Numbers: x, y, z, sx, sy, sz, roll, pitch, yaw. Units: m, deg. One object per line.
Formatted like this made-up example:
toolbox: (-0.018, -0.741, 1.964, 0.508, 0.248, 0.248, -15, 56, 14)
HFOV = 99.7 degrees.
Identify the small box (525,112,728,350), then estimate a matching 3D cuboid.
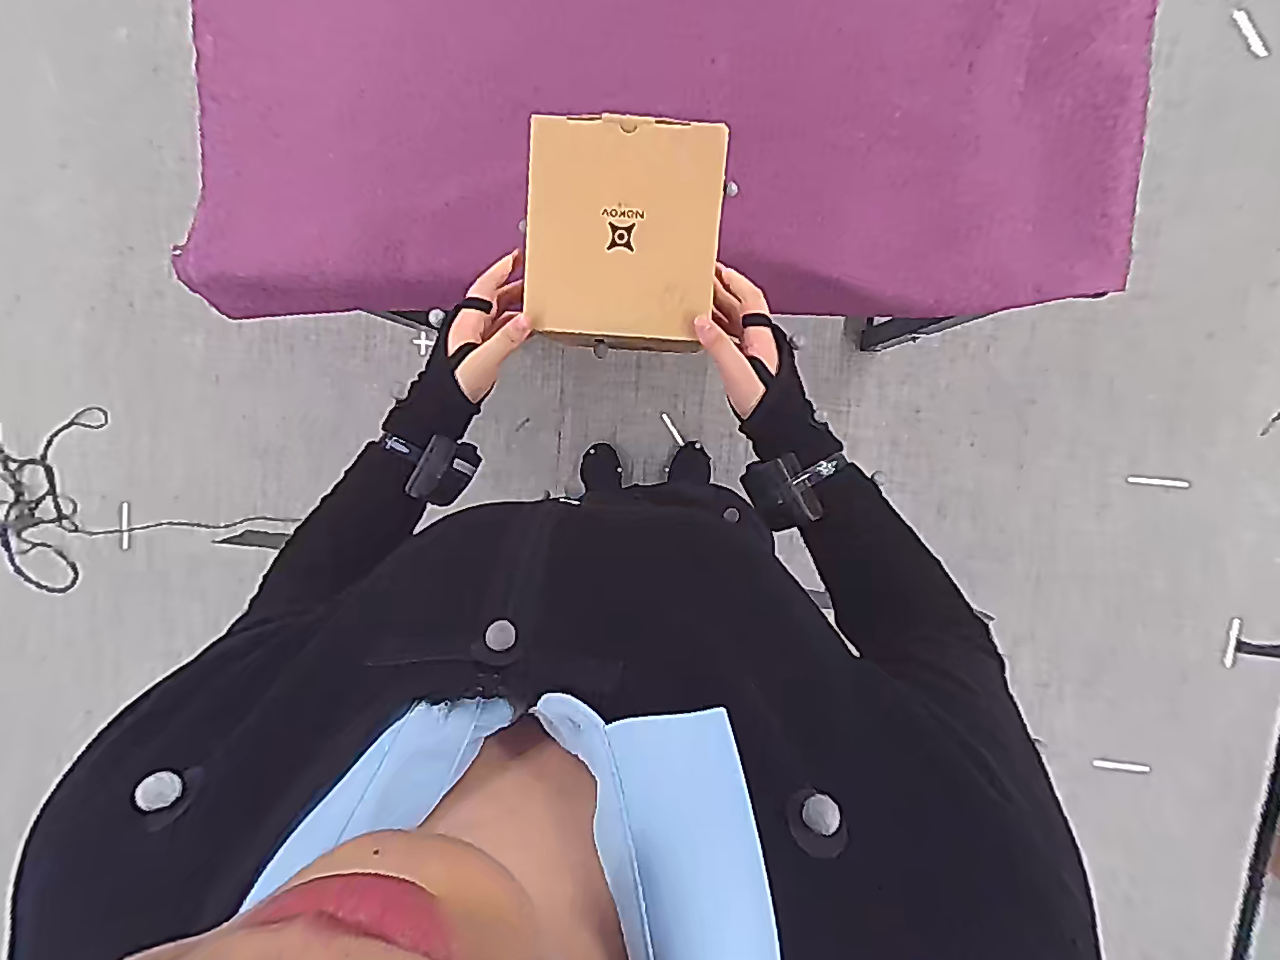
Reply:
small box: (-0.009, -0.226, 0.536, 0.168, 0.176, 0.179, 5, 99, 3)
